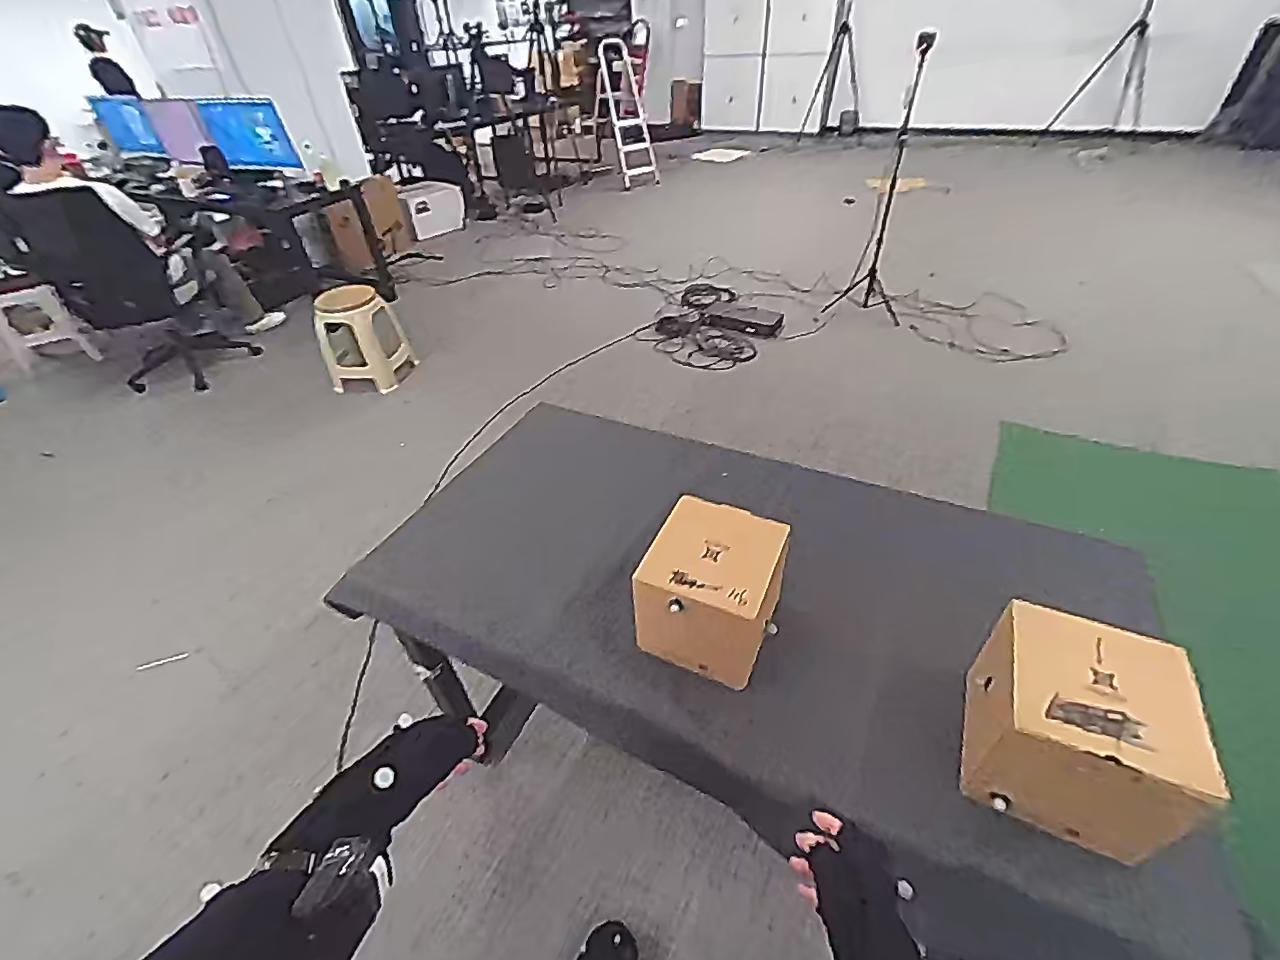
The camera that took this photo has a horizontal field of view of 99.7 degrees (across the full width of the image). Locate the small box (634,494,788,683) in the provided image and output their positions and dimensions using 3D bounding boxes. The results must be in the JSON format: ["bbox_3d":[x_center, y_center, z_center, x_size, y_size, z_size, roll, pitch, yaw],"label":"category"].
[{"bbox_3d":[0.101,0.154,0.784,0.168,0.176,0.179,16,43,21],"label":"small box"}]

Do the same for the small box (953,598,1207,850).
[{"bbox_3d":[0.475,0.275,0.616,0.168,0.176,0.179,17,42,23],"label":"small box"}]
